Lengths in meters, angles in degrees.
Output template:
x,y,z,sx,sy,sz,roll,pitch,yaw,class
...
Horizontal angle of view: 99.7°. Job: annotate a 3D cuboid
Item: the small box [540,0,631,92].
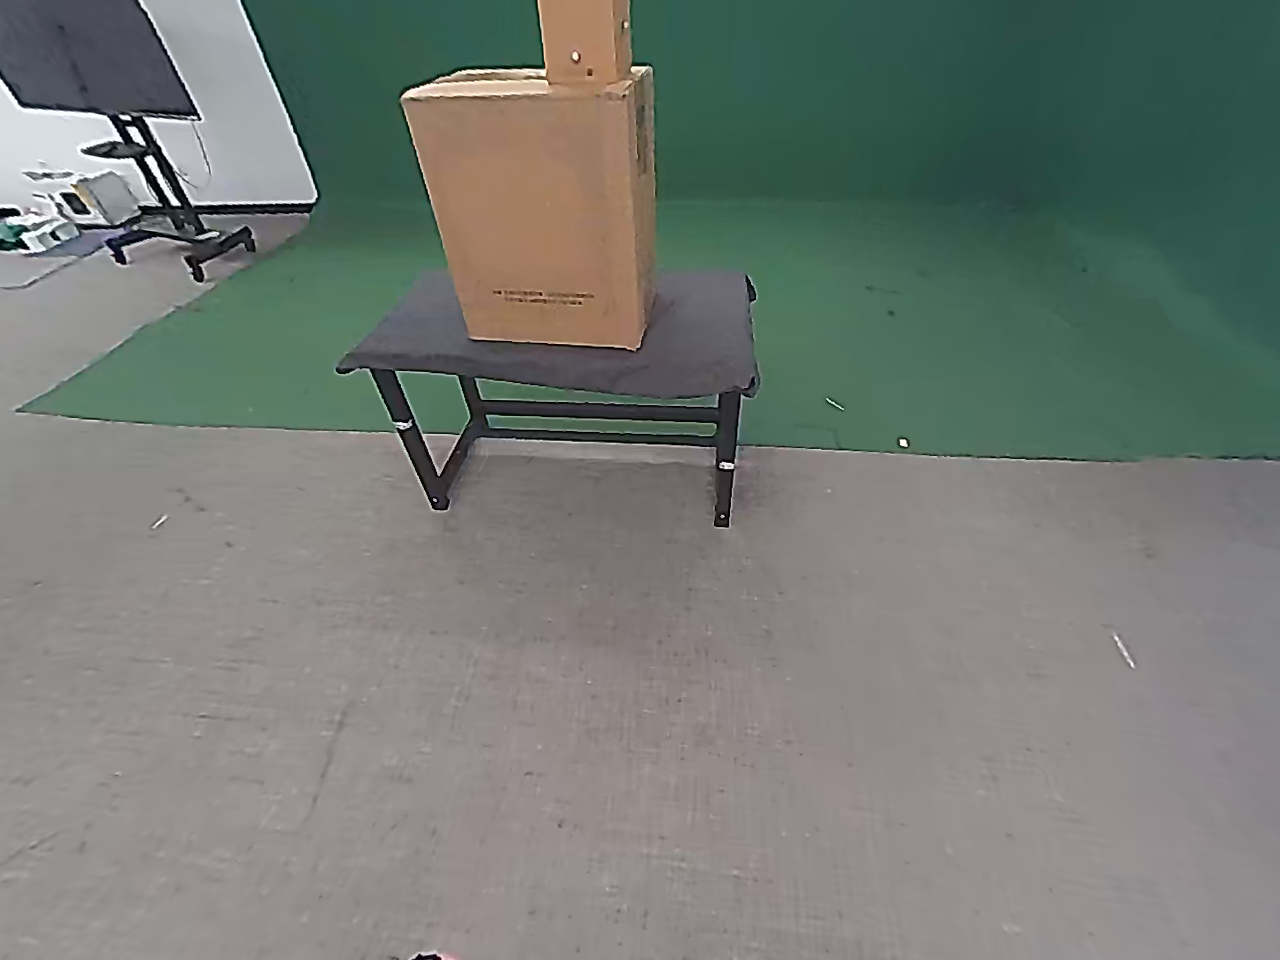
x,y,z,sx,sy,sz,roll,pitch,yaw,class
-0.117,-1.007,1.231,0.168,0.176,0.179,7,47,8,small box
